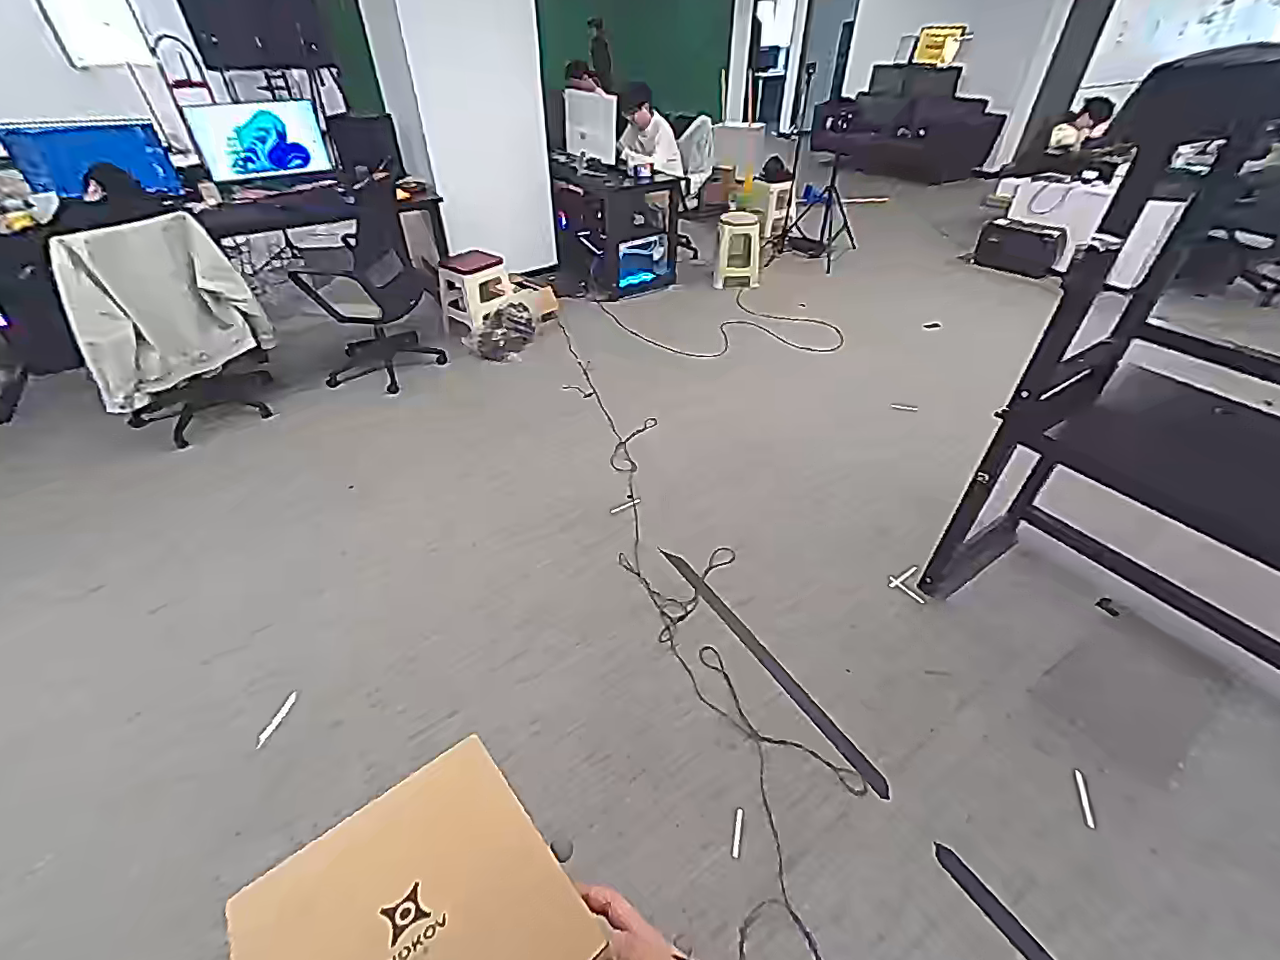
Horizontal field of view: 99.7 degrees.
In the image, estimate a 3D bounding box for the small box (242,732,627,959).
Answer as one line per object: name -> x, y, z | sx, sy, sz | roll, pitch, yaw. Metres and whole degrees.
small box -> -0.118, 0.315, 0.344 | 0.168, 0.176, 0.179 | -26, 34, -31
